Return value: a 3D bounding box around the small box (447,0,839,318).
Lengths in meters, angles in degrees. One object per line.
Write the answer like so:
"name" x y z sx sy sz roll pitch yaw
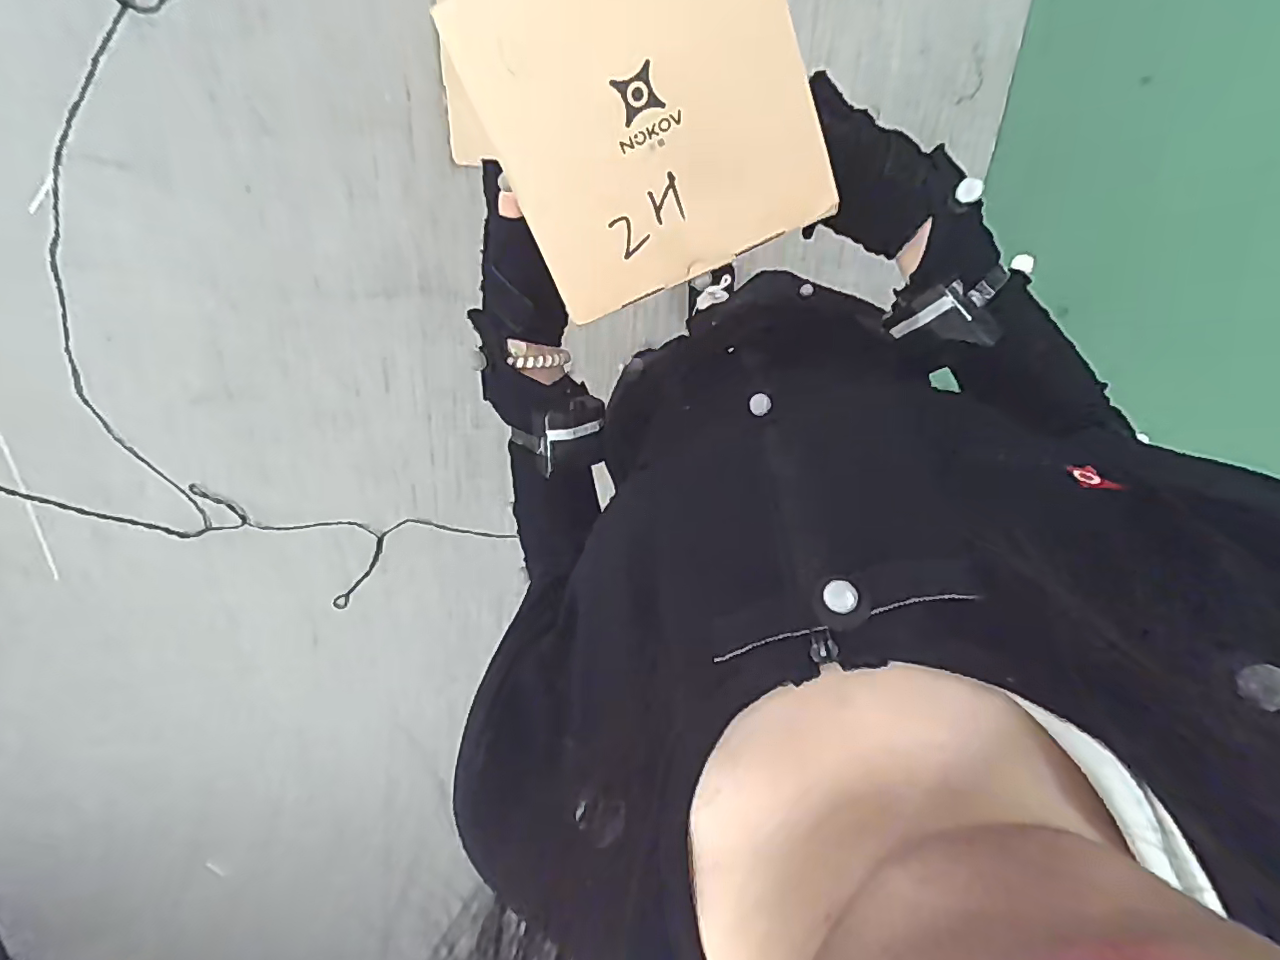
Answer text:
"small box" 0.011 -0.230 0.363 0.168 0.176 0.179 -20 111 14
